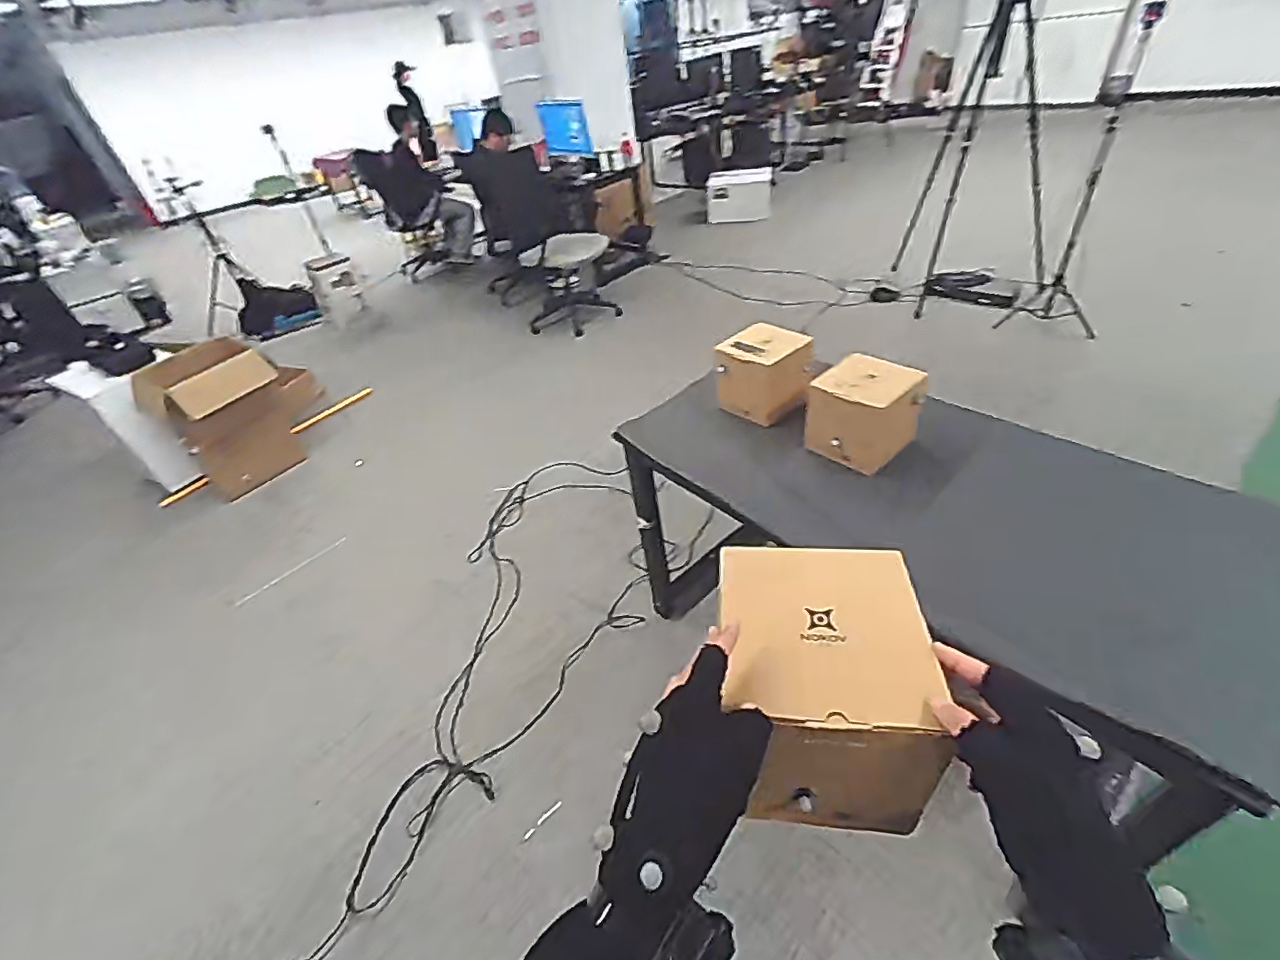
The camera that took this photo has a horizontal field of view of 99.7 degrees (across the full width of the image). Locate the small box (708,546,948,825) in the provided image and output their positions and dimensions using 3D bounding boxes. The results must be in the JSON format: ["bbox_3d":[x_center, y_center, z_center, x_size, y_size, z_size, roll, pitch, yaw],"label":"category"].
[{"bbox_3d":[0.147,0.181,0.496,0.168,0.176,0.179,0,38,7],"label":"small box"}]

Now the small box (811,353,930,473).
[{"bbox_3d":[0.486,-0.145,1.164,0.179,0.176,0.168,-33,45,-26],"label":"small box"}]
